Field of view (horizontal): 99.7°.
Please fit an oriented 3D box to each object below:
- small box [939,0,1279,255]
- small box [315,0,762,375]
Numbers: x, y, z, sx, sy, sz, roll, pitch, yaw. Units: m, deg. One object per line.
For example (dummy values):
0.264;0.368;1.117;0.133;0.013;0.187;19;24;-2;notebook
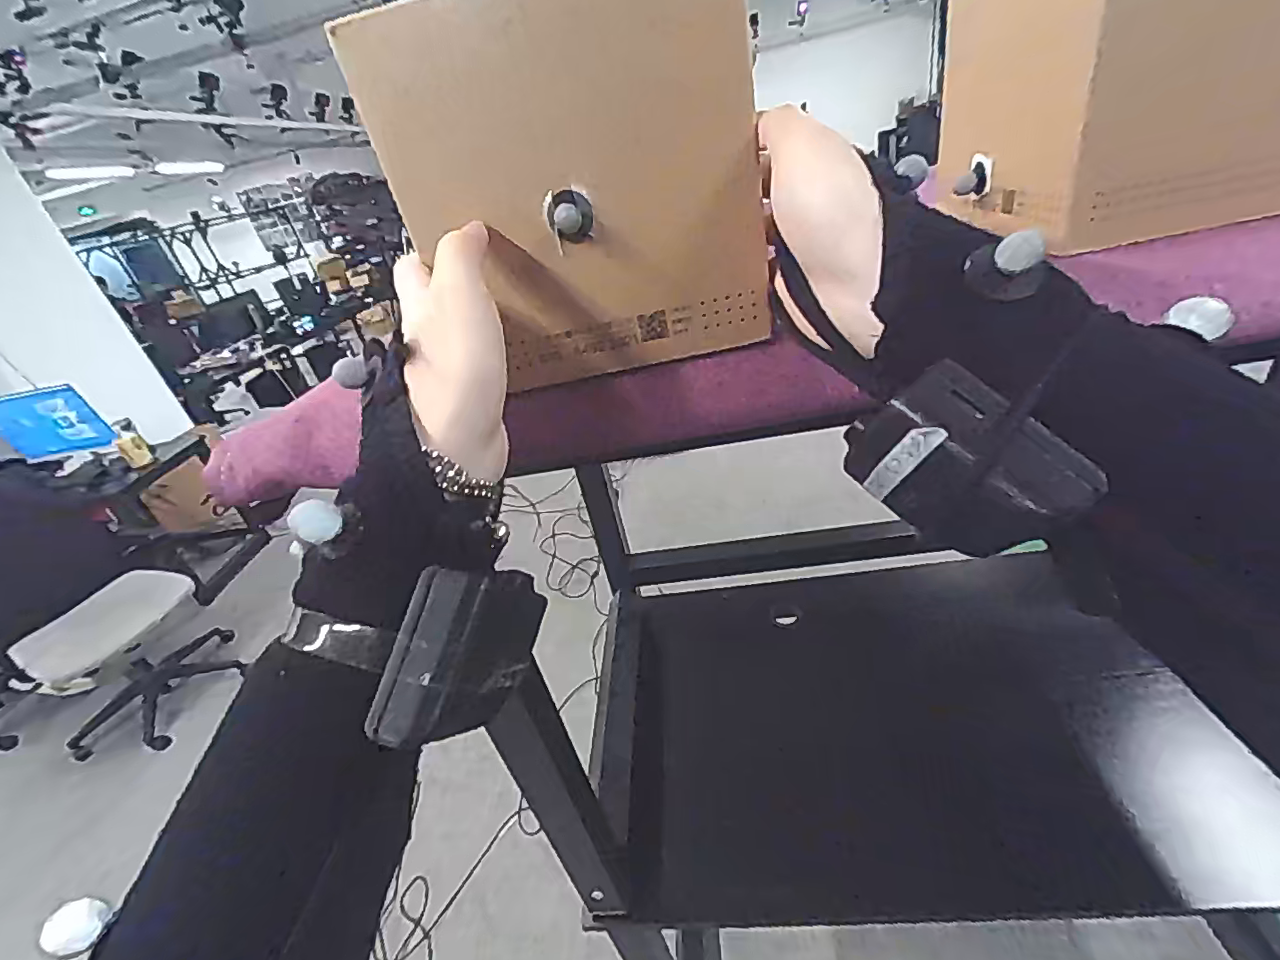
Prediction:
0.302;-0.248;0.316;0.179;0.176;0.168;-11;31;8;small box
-0.030;-0.171;0.311;0.168;0.176;0.179;-10;34;6;small box
